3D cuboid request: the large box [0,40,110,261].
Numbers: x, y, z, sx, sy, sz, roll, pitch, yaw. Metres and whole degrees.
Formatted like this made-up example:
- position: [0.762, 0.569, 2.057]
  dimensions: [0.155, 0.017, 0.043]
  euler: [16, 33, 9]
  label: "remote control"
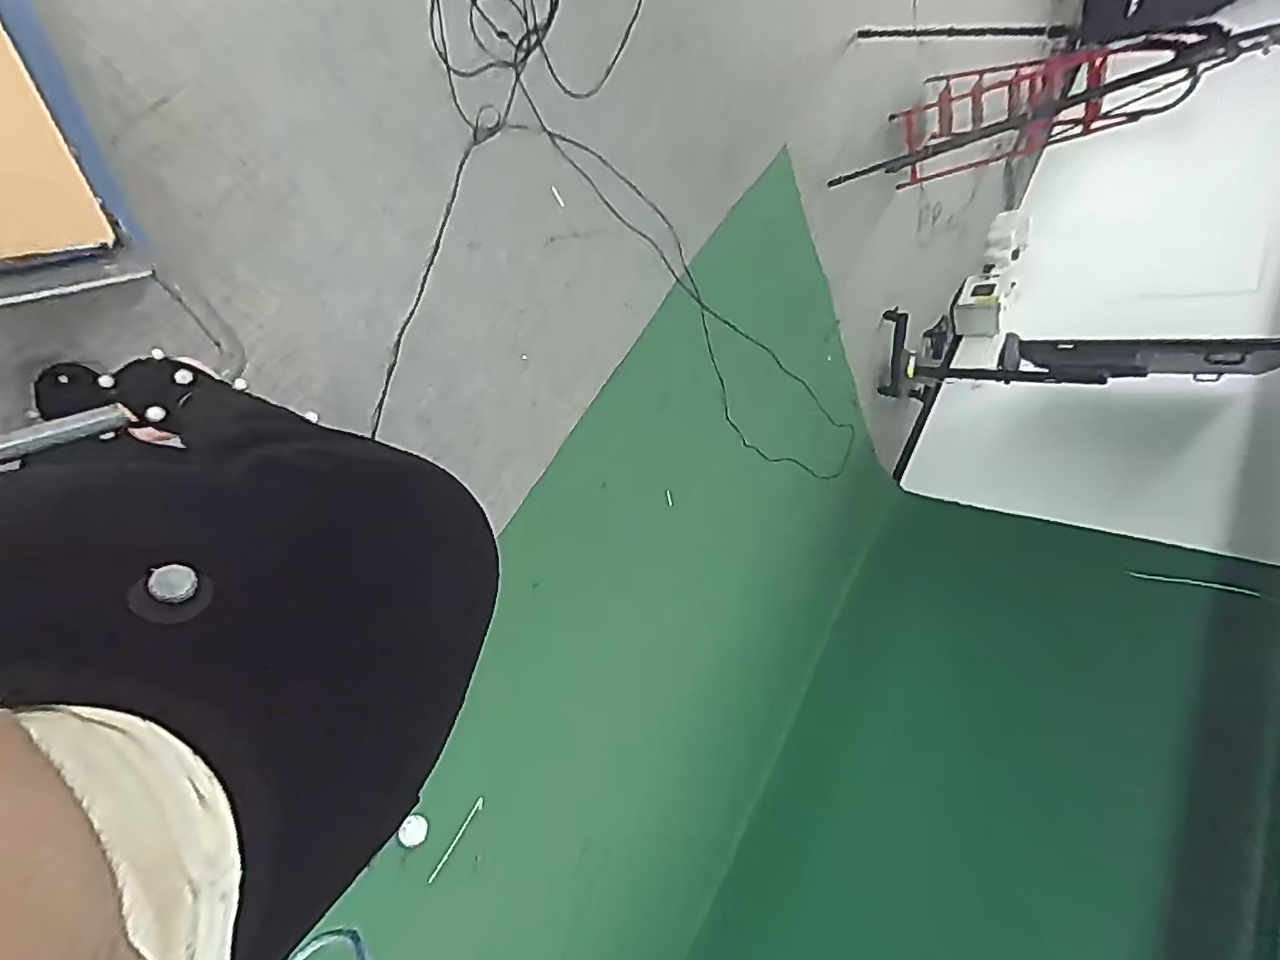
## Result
- position: [-1.026, -0.512, 0.708]
  dimensions: [0.320, 0.320, 0.408]
  euler: [-34, 138, -37]
  label: "large box"
